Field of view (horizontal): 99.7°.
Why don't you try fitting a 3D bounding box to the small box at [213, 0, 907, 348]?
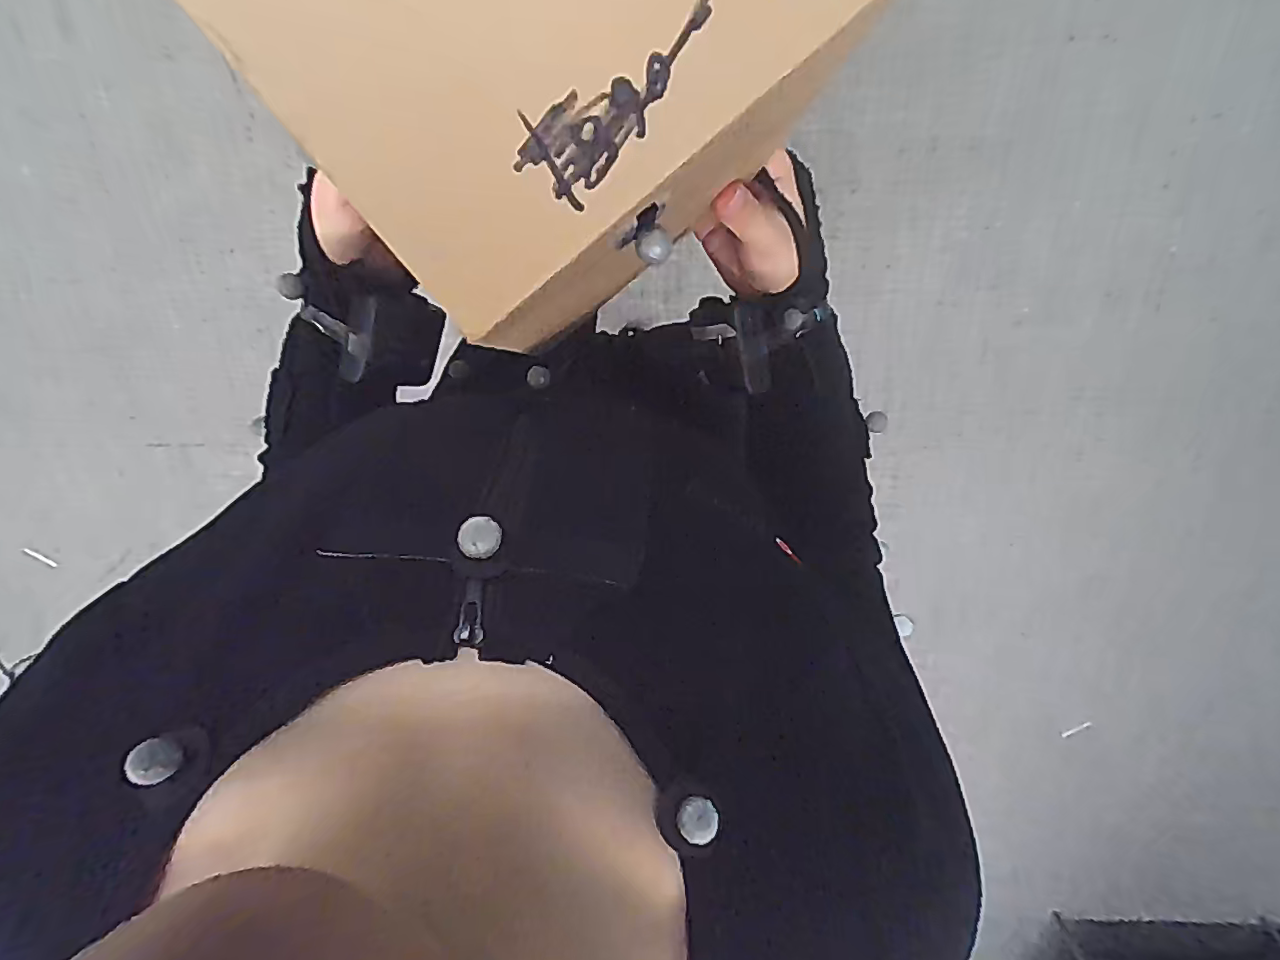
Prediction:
[{"bbox_3d":[-0.040,-0.173,0.228,0.168,0.176,0.179,-39,101,5],"label":"small box"}]
